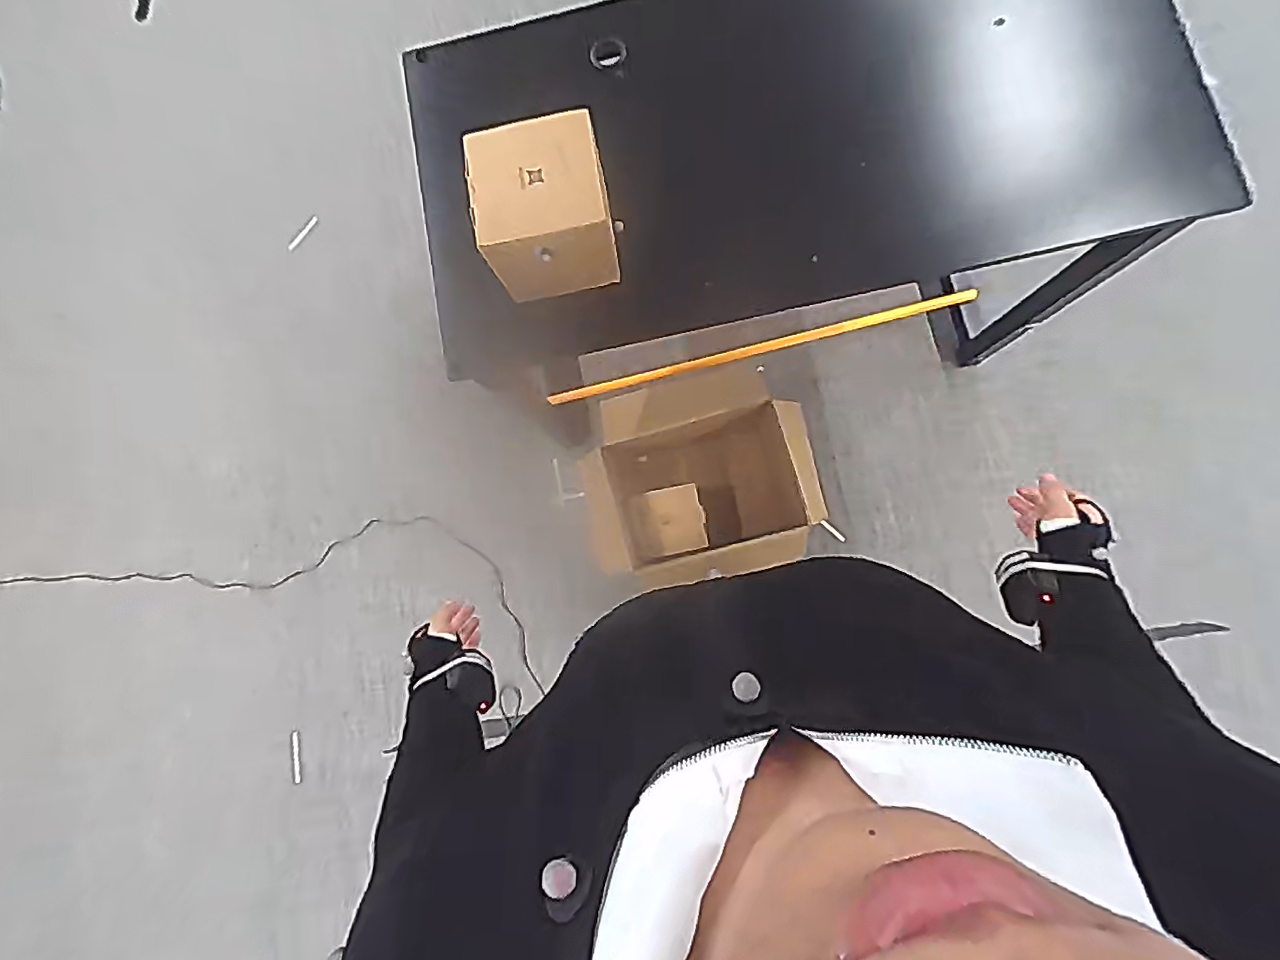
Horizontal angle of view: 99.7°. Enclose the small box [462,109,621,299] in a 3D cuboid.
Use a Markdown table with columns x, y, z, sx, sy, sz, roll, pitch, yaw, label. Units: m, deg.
| x | y | z | sx | sy | sz | roll | pitch | yaw | label |
| --- | --- | --- | --- | --- | --- | --- | --- | --- | --- |
| -0.134 | -0.384 | 0.784 | 0.179 | 0.176 | 0.168 | -11 | 83 | 3 | small box |
